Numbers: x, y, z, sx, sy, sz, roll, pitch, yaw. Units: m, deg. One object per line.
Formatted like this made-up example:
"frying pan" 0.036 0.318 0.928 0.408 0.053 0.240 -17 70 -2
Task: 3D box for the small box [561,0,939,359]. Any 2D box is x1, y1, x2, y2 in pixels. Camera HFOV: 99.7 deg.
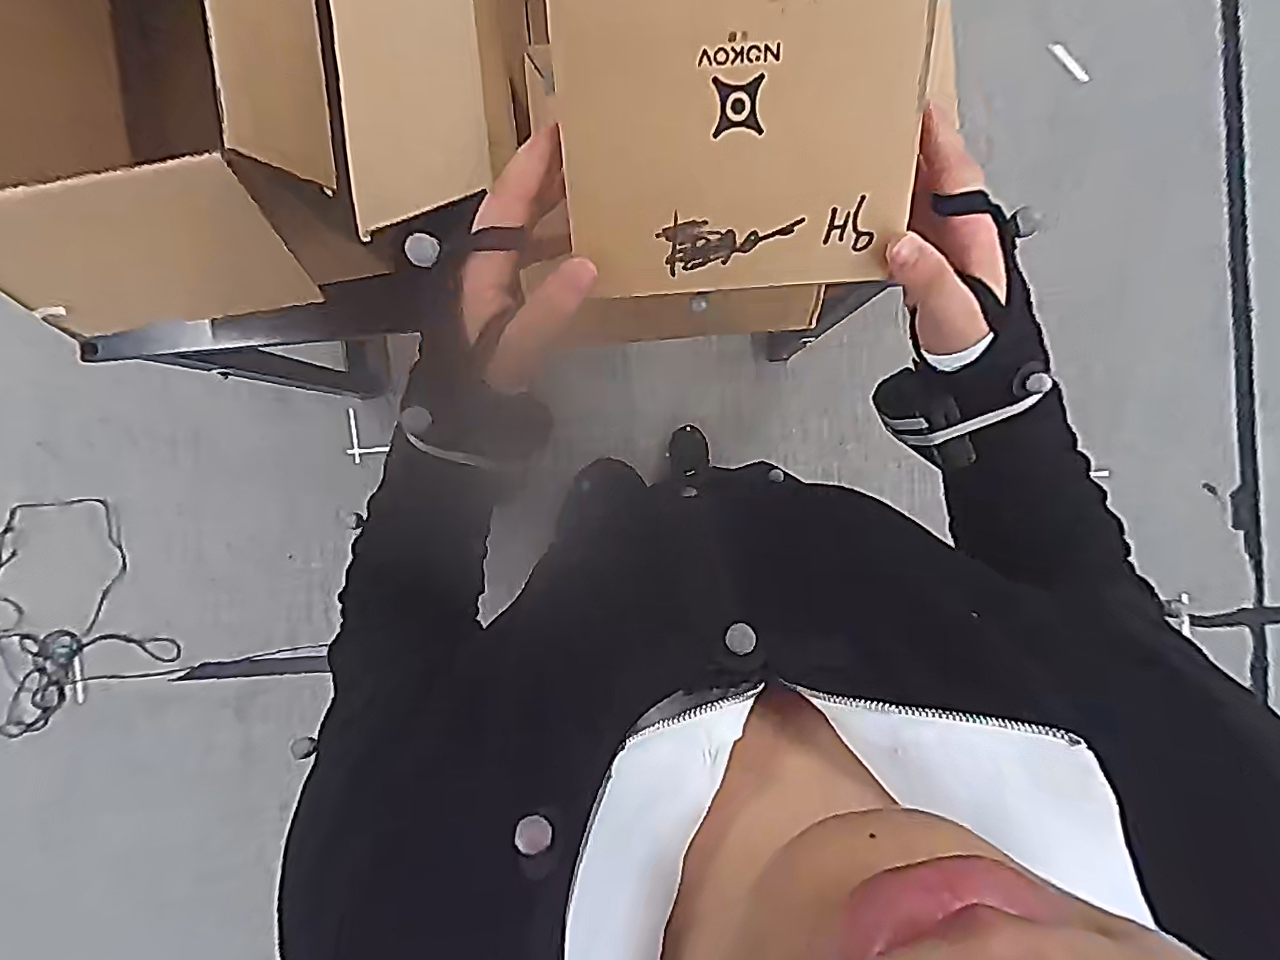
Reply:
"small box" 0.047 -0.179 0.328 0.168 0.176 0.179 -4 114 0
